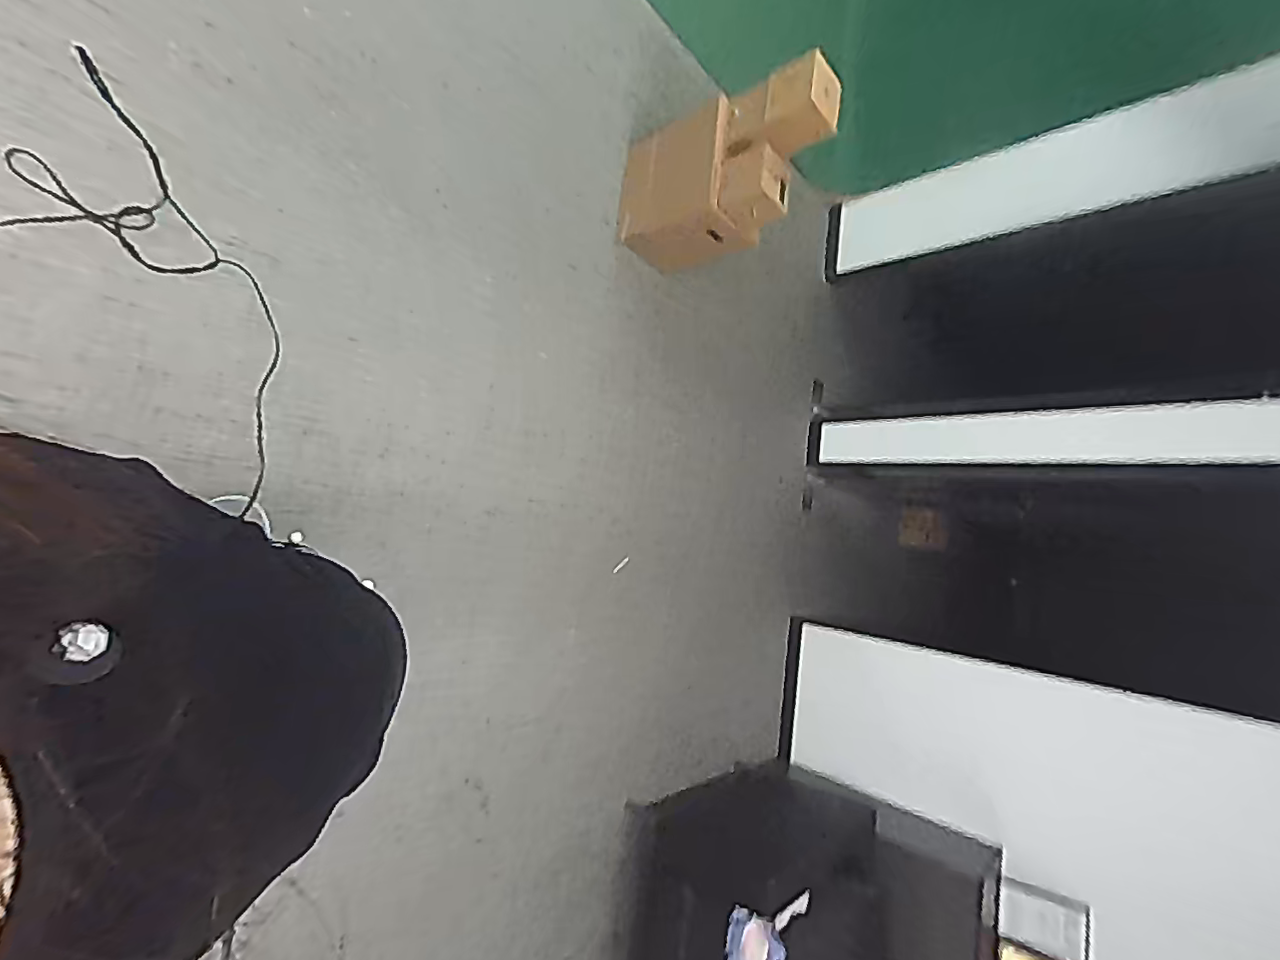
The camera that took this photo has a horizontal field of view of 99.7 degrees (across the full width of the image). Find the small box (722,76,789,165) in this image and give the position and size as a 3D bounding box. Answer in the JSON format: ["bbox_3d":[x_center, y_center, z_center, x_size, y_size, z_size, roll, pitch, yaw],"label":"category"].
[{"bbox_3d":[0.405,-1.217,1.852,0.179,0.176,0.168,13,84,-44],"label":"small box"}]

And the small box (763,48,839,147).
[{"bbox_3d":[0.514,-1.212,1.731,0.179,0.176,0.168,13,84,-46],"label":"small box"}]
